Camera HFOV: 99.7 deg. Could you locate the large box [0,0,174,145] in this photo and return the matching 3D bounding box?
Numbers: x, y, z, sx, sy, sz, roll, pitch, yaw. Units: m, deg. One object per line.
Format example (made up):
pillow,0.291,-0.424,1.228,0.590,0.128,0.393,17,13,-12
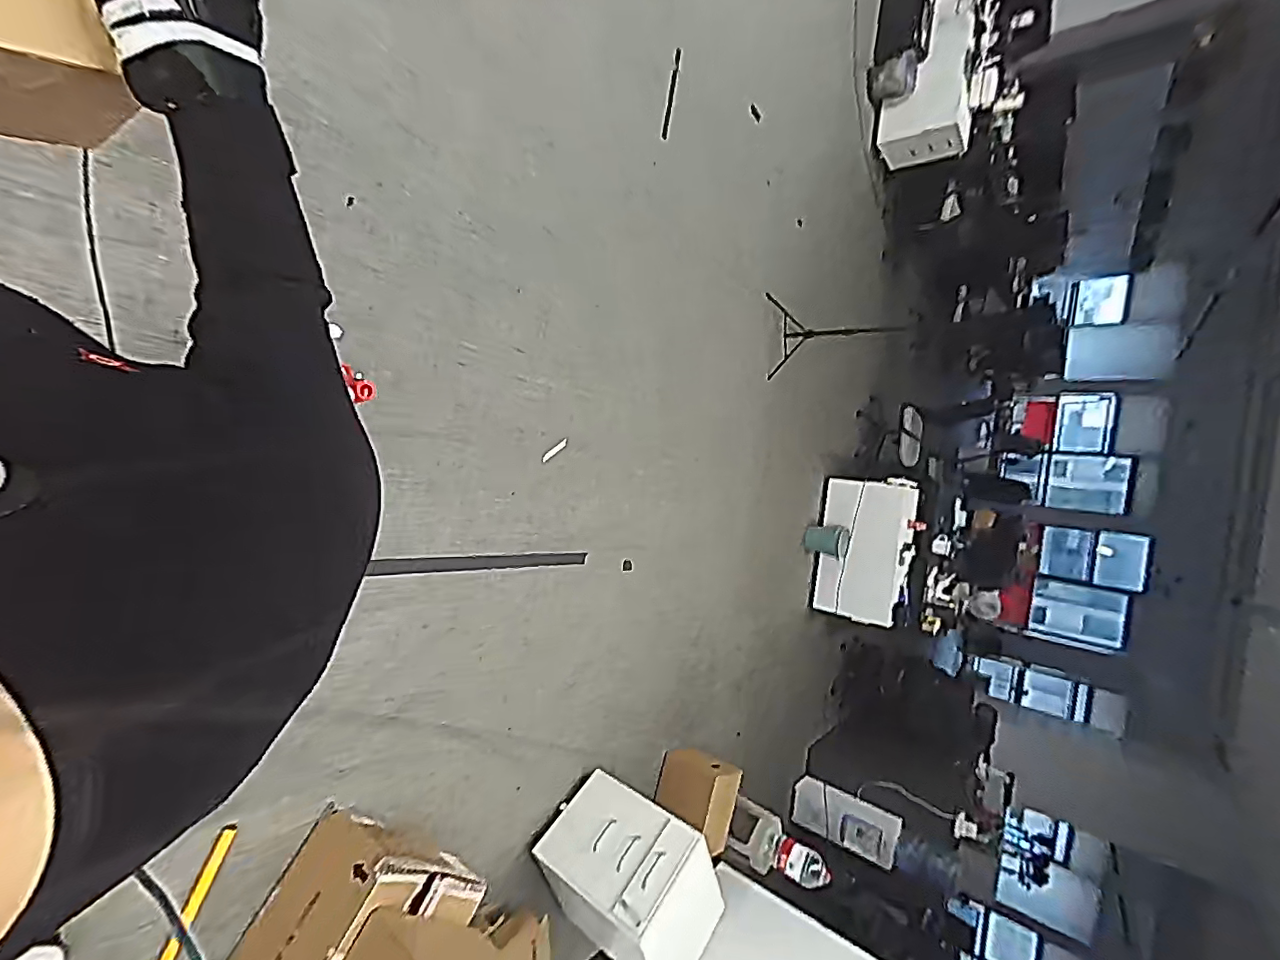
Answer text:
large box,-0.565,-0.405,0.273,0.408,0.320,0.320,-21,119,-48
